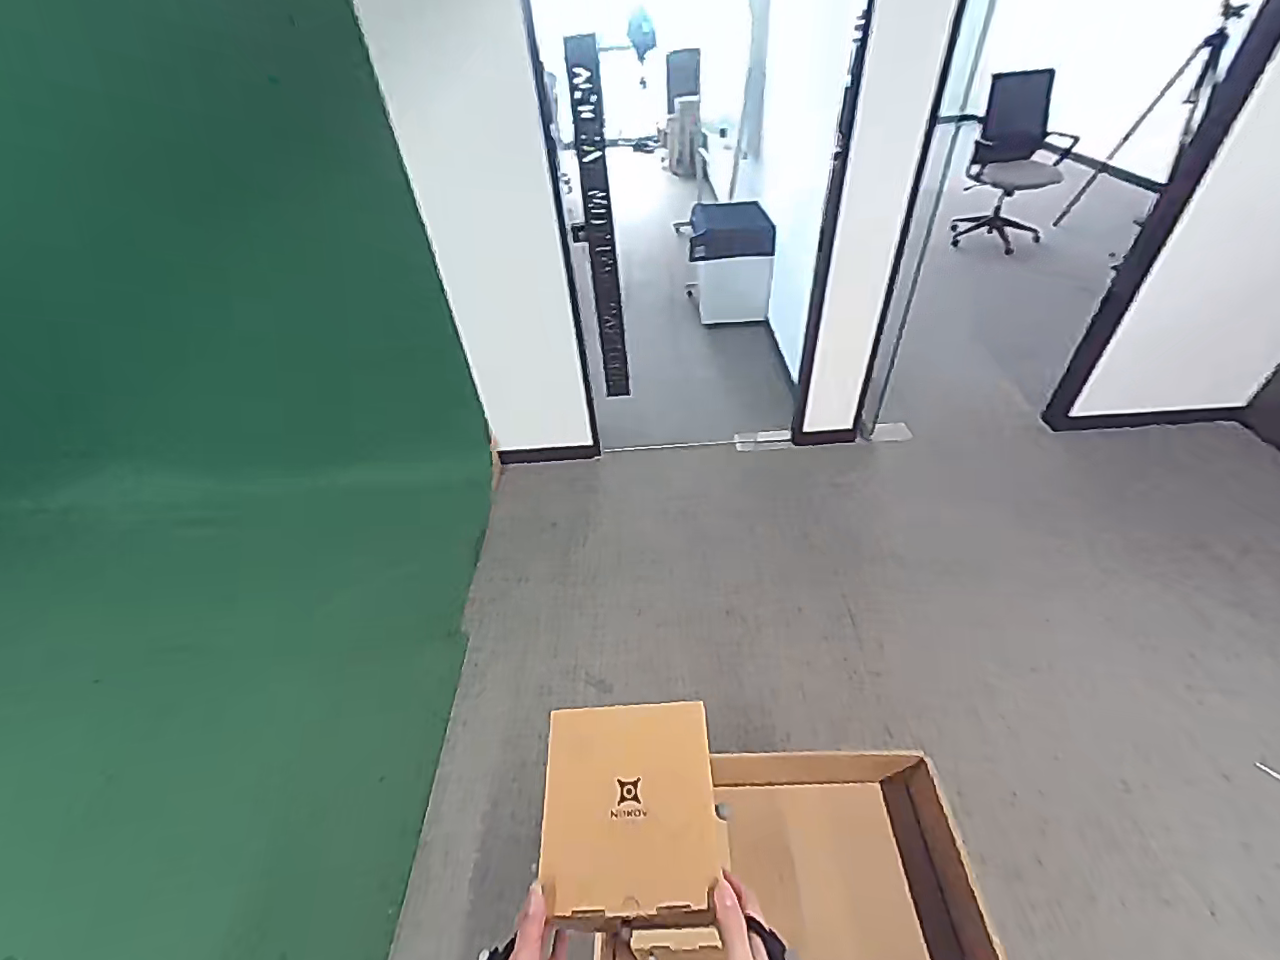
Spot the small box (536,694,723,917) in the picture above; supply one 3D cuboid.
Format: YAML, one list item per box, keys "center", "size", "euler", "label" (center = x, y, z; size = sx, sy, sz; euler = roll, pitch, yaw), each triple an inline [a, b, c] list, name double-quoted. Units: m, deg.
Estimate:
- center: [-0.008, 0.350, 0.582]
  size: [0.168, 0.176, 0.179]
  euler: [-3, 48, 1]
  label: "small box"
